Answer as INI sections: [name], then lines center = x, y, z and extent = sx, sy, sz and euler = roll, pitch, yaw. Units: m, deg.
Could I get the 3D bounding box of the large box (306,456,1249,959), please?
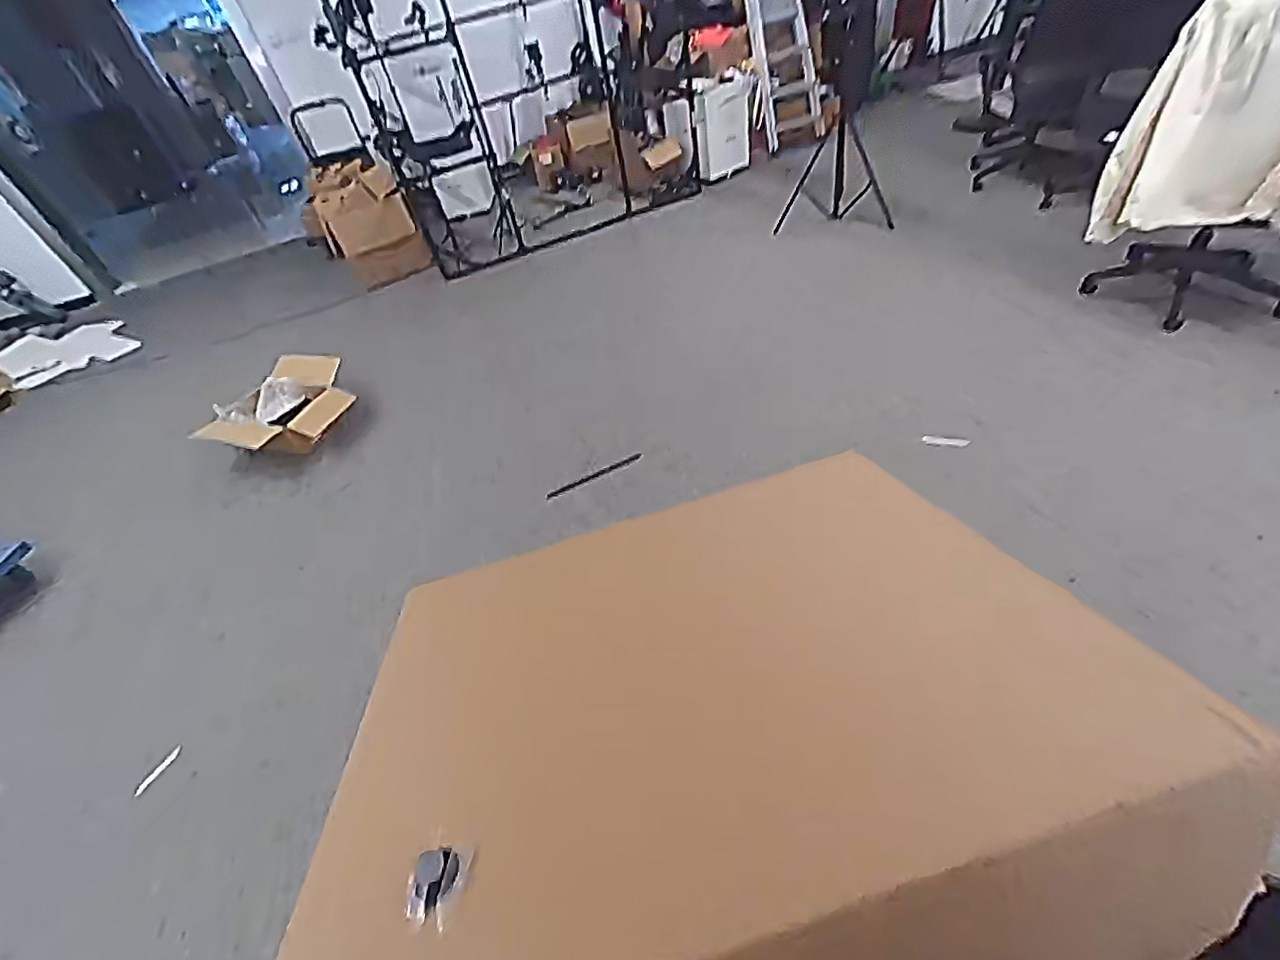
[large box]
center = 0.064, 0.224, 0.401
extent = 0.408, 0.320, 0.320
euler = -18, 27, -2
